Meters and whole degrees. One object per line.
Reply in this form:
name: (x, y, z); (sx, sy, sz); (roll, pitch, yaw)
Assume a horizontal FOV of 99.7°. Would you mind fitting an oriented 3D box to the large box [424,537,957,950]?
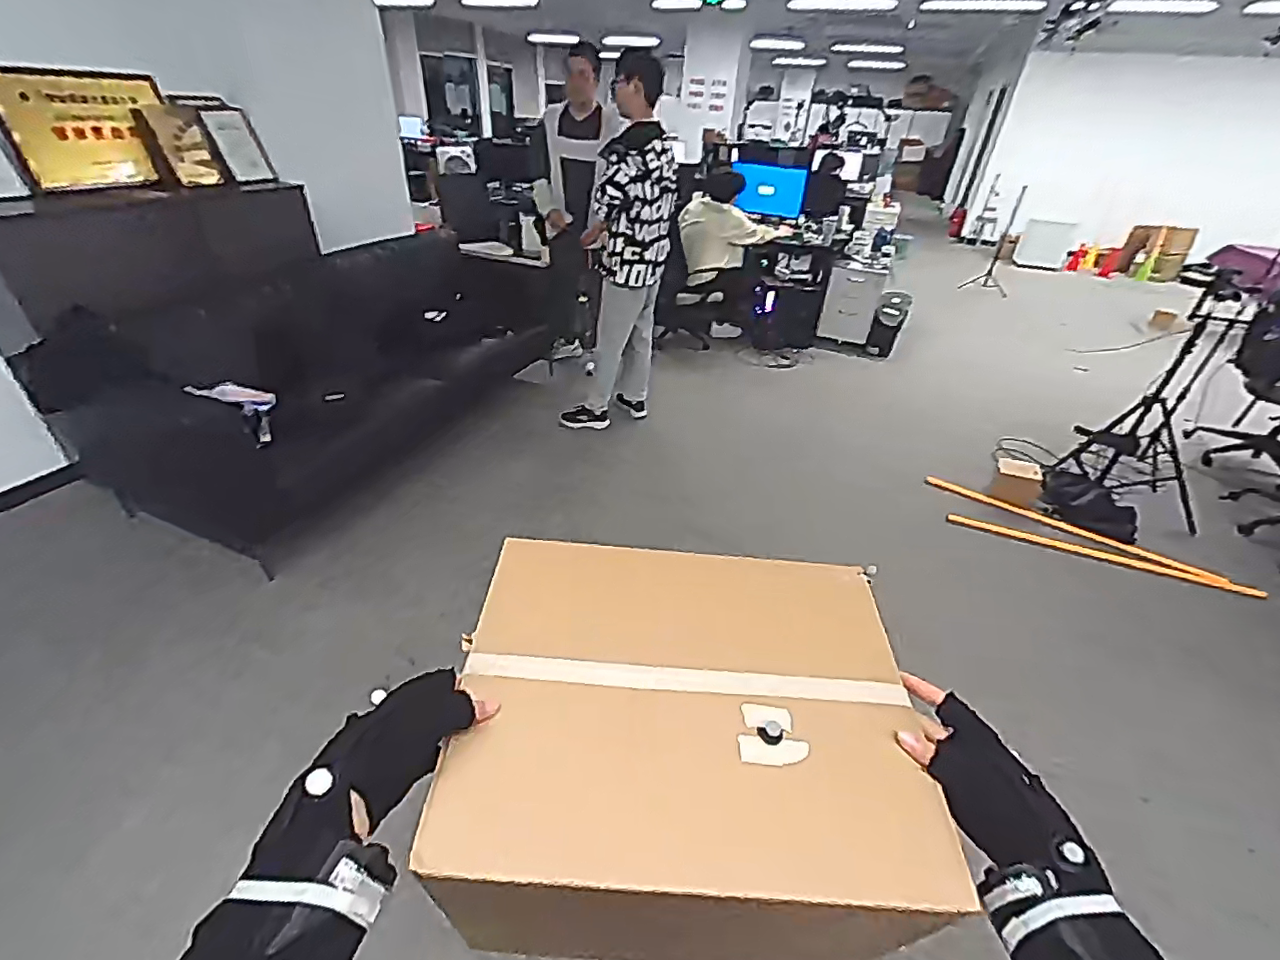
large box: (0.028, 0.290, 0.600); (0.408, 0.320, 0.320); (5, 42, -2)
